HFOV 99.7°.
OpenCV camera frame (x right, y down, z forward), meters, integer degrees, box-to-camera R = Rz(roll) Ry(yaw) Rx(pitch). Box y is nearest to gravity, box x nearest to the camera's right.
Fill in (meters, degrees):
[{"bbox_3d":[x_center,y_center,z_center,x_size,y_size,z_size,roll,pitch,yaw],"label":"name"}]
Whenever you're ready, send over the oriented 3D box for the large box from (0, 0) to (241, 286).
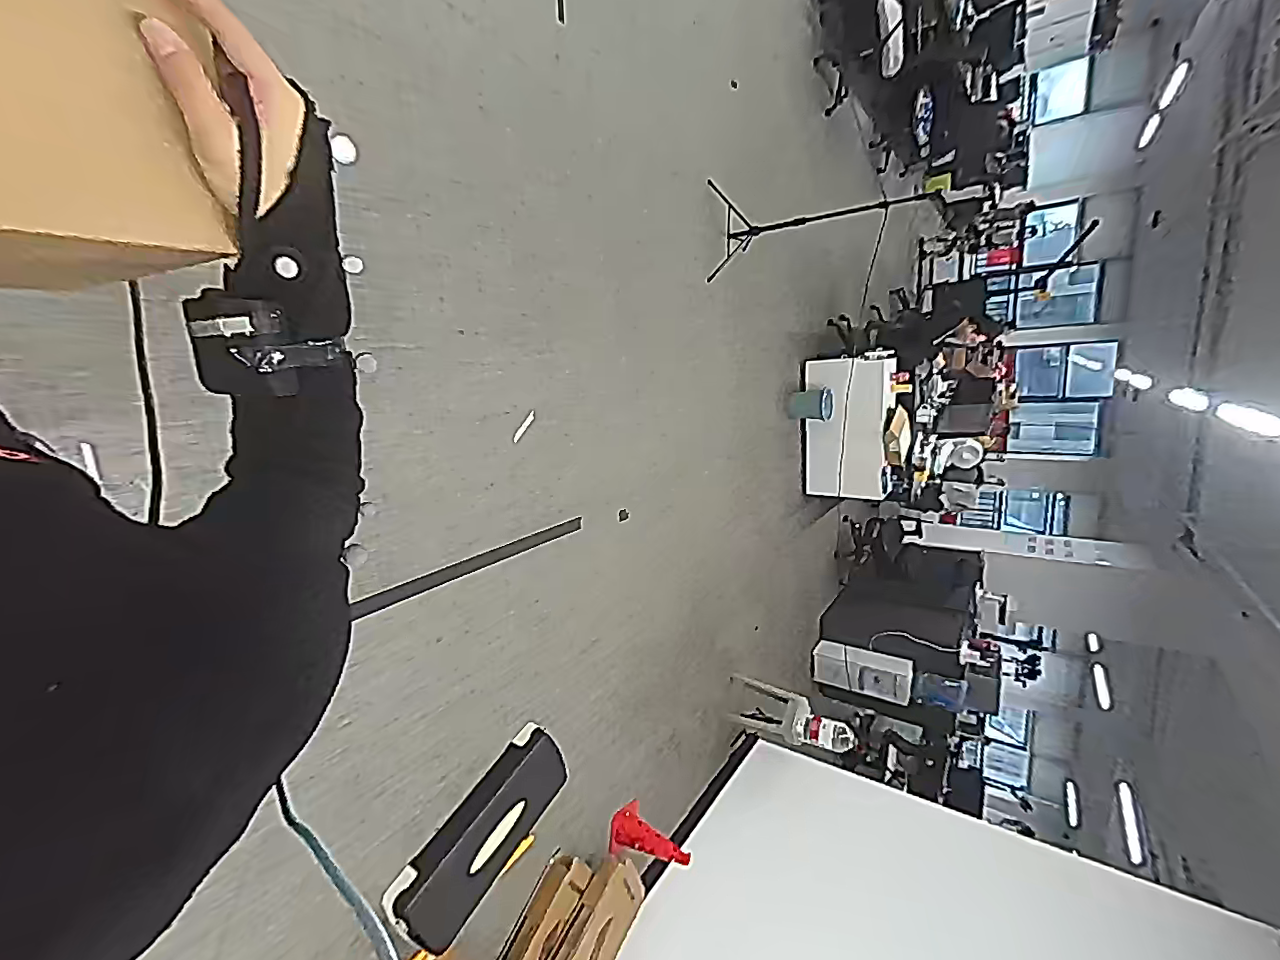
[{"bbox_3d":[-0.482,-0.258,0.212,0.408,0.320,0.320,-23,117,-56],"label":"large box"}]
